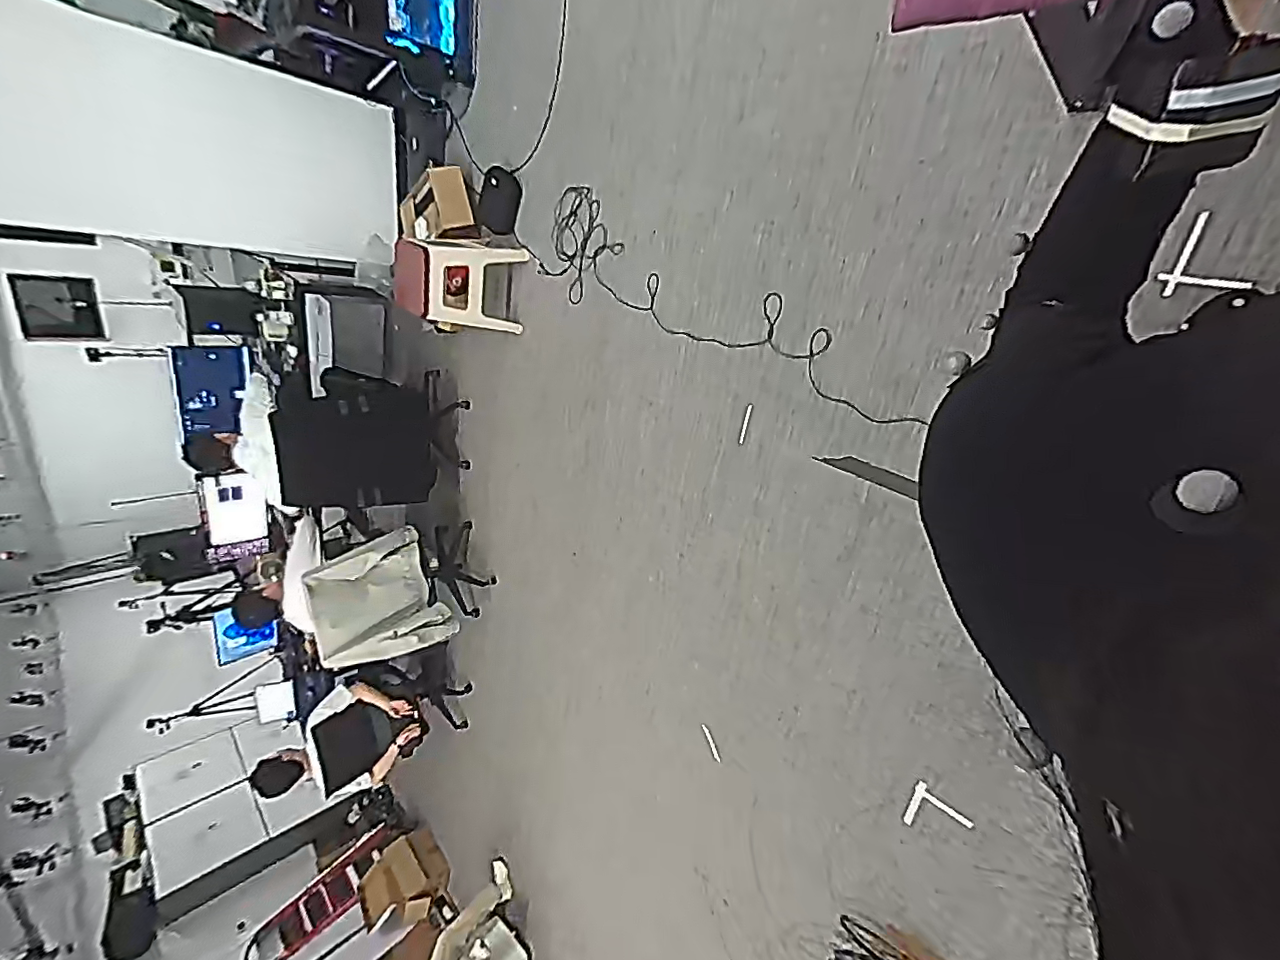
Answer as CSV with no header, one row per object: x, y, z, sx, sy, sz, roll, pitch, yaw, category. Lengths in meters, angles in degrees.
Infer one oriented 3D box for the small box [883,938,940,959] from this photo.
0.840,1.562,1.650,0.179,0.176,0.168,5,104,44,small box
